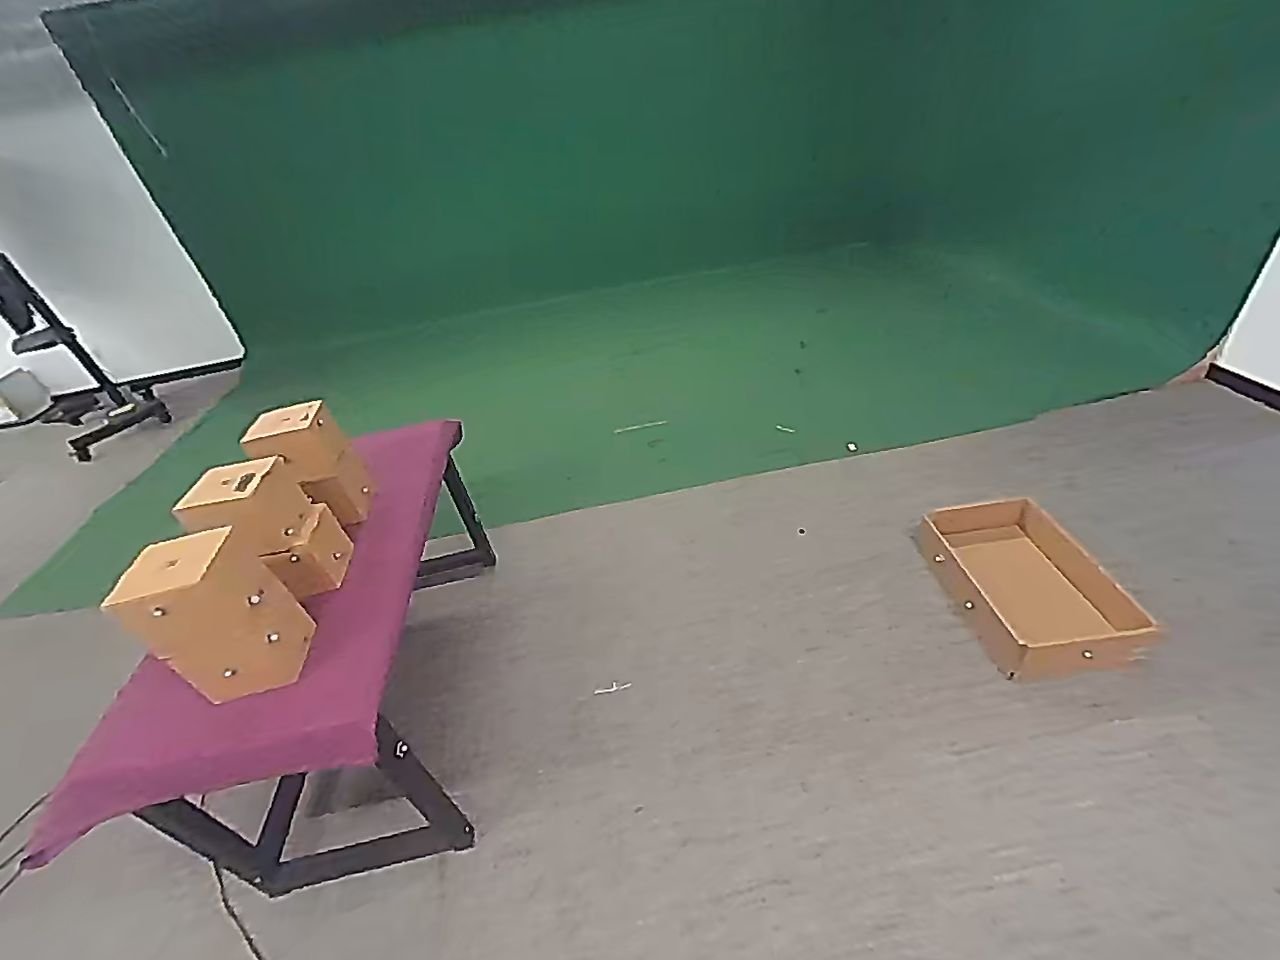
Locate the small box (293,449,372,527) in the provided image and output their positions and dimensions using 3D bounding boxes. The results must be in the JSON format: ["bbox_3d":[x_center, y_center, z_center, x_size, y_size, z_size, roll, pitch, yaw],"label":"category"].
[{"bbox_3d":[-0.933,0.036,1.605,0.179,0.176,0.168,-13,37,-4],"label":"small box"}]

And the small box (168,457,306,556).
[{"bbox_3d":[-0.943,0.071,1.289,0.179,0.176,0.168,-11,36,0],"label":"small box"}]

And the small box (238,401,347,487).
[{"bbox_3d":[-0.957,-0.094,1.508,0.179,0.176,0.168,-15,38,-5],"label":"small box"}]

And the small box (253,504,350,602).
[{"bbox_3d":[-0.890,0.191,1.394,0.179,0.176,0.168,-12,37,-4],"label":"small box"}]

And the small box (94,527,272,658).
[{"bbox_3d":[-0.885,0.224,1.070,0.179,0.176,0.168,-14,37,-4],"label":"small box"}]
